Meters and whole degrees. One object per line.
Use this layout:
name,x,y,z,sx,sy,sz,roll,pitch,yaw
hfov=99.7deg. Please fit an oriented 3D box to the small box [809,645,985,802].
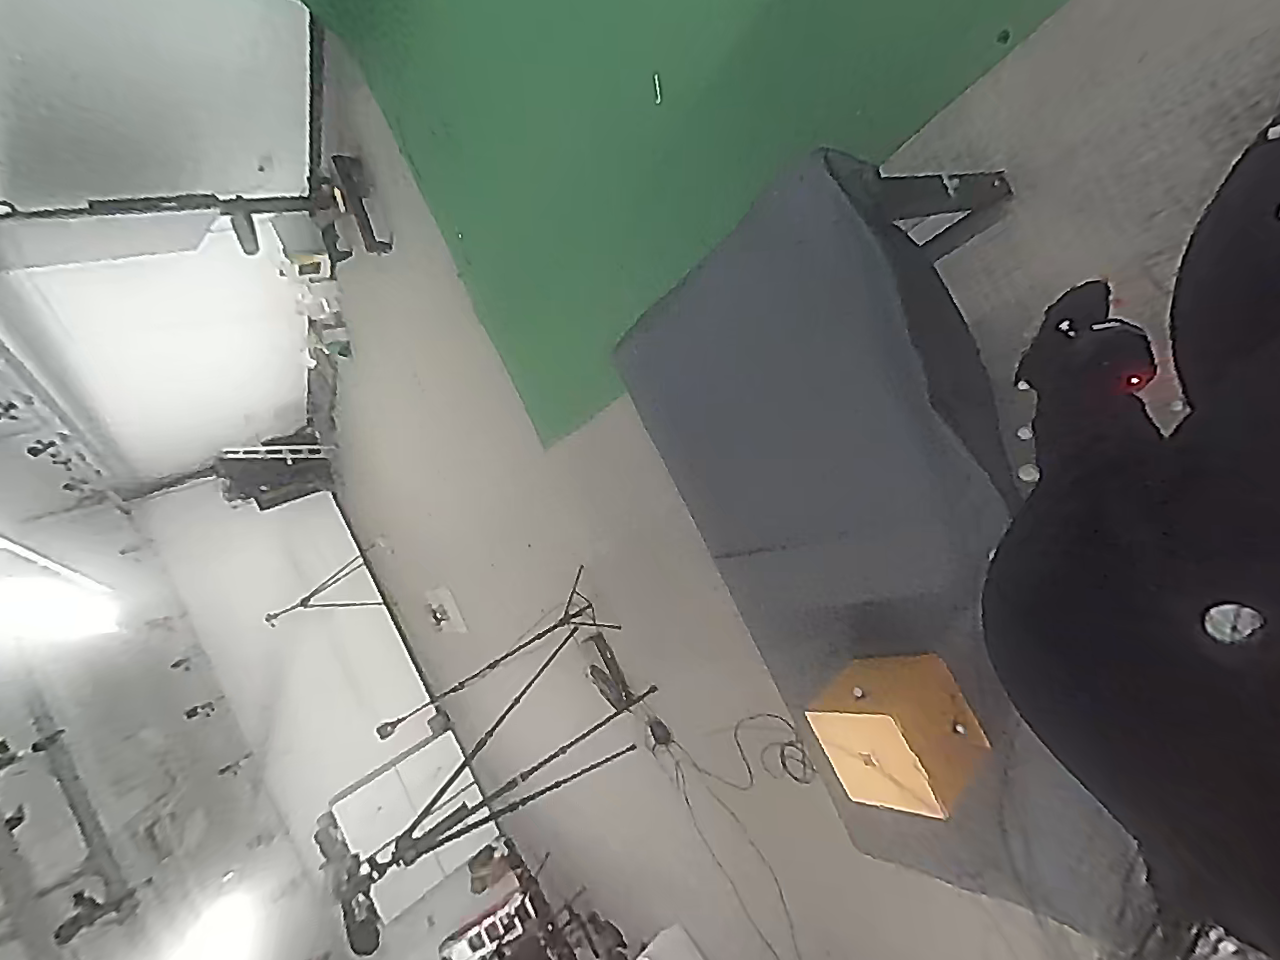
small box,0.426,0.392,0.901,0.179,0.176,0.168,-33,83,54
